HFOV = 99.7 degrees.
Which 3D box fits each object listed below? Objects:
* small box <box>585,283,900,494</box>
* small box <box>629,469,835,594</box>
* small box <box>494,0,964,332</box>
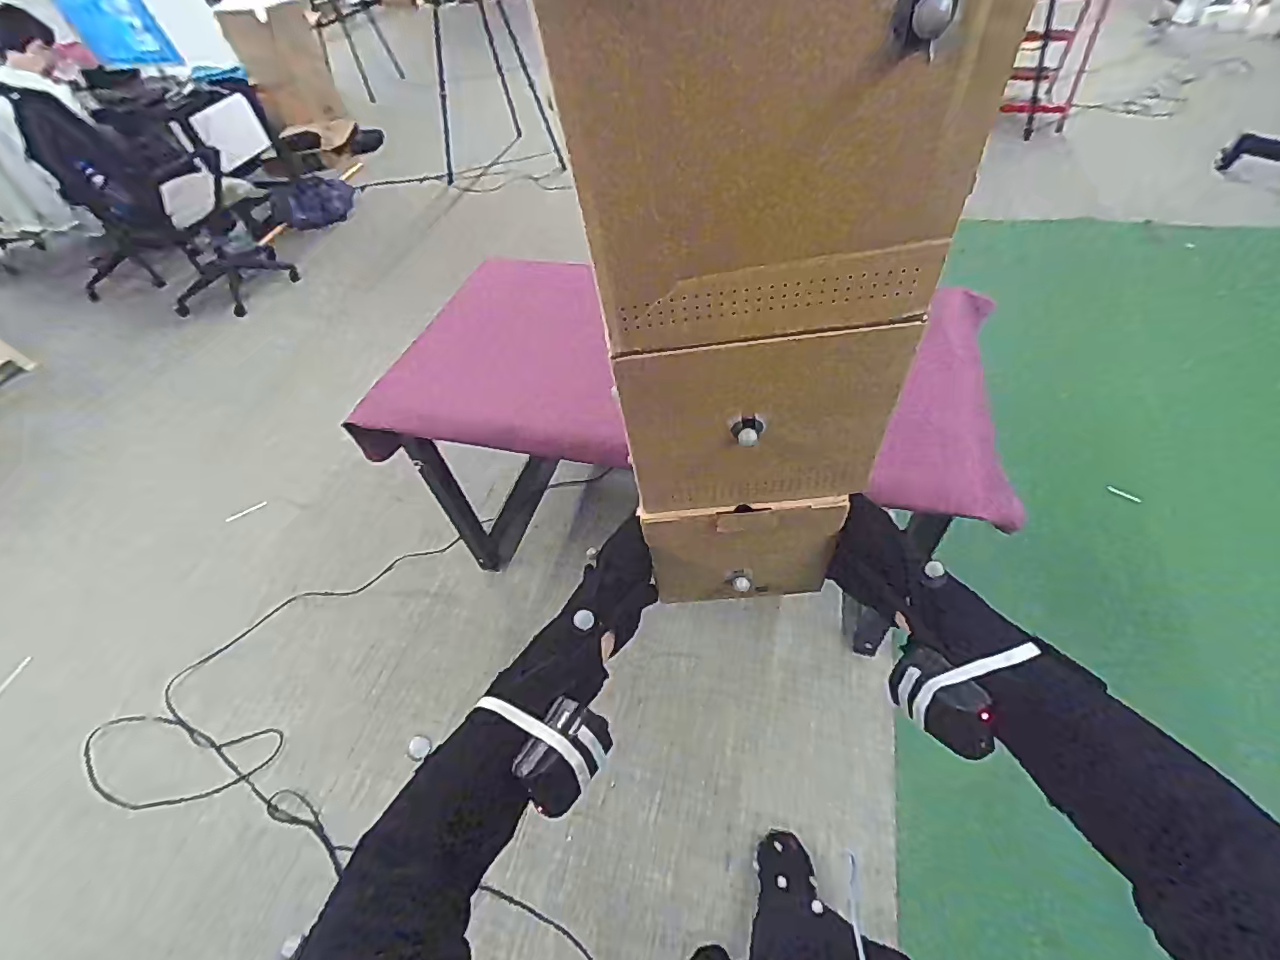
[{"bbox_3d":[0.066,-0.104,0.408,0.179,0.176,0.168,-4,52,7],"label":"small box"},{"bbox_3d":[0.081,-0.004,0.542,0.168,0.176,0.179,-6,55,6],"label":"small box"},{"bbox_3d":[0.040,-0.196,0.280,0.179,0.176,0.168,-6,54,4],"label":"small box"}]
